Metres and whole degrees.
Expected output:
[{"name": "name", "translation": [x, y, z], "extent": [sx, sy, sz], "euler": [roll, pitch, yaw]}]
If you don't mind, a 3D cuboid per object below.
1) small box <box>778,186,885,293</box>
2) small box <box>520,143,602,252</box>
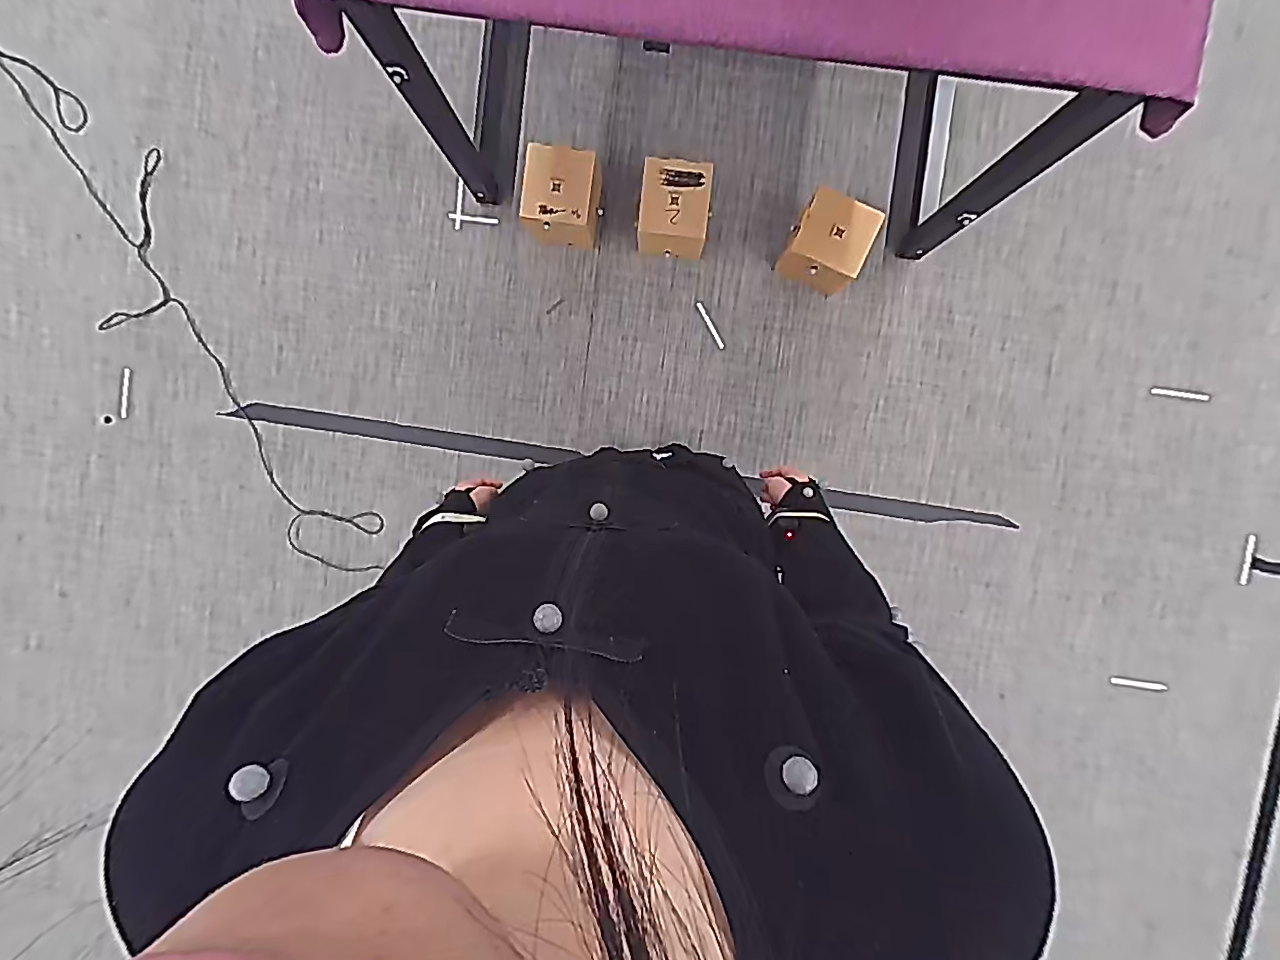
[{"name": "small box", "translation": [0.472, -0.592, 1.360], "extent": [0.179, 0.176, 0.168], "euler": [25, 95, 1]}, {"name": "small box", "translation": [-0.192, -0.705, 1.364], "extent": [0.168, 0.176, 0.179], "euler": [9, 92, 0]}]
